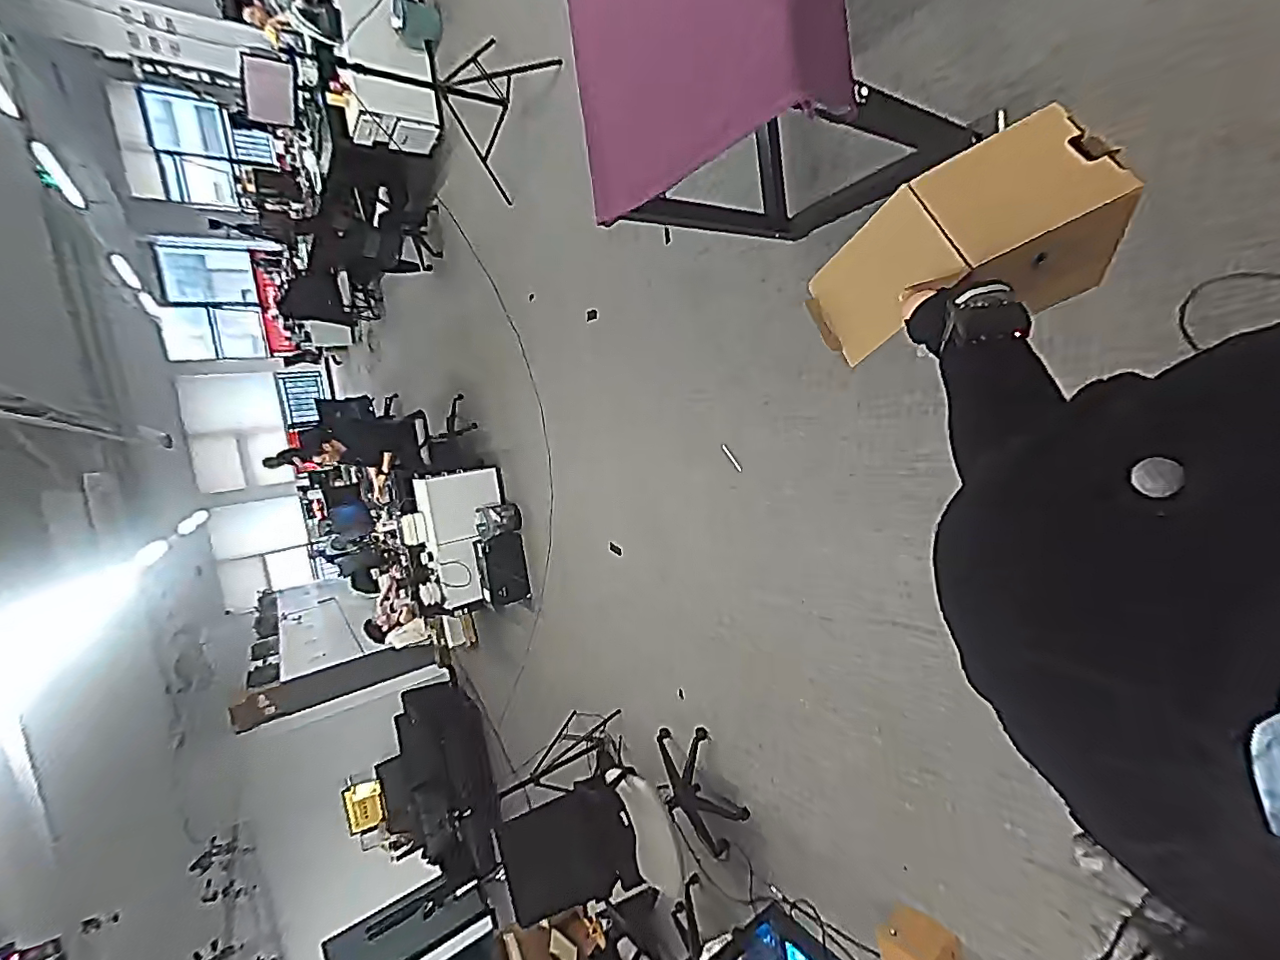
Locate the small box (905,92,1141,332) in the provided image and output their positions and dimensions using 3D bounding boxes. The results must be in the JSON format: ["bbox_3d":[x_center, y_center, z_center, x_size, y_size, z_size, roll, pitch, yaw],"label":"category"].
[{"bbox_3d":[0.459,-0.320,0.682,0.179,0.176,0.168,-24,63,18],"label":"small box"}]
